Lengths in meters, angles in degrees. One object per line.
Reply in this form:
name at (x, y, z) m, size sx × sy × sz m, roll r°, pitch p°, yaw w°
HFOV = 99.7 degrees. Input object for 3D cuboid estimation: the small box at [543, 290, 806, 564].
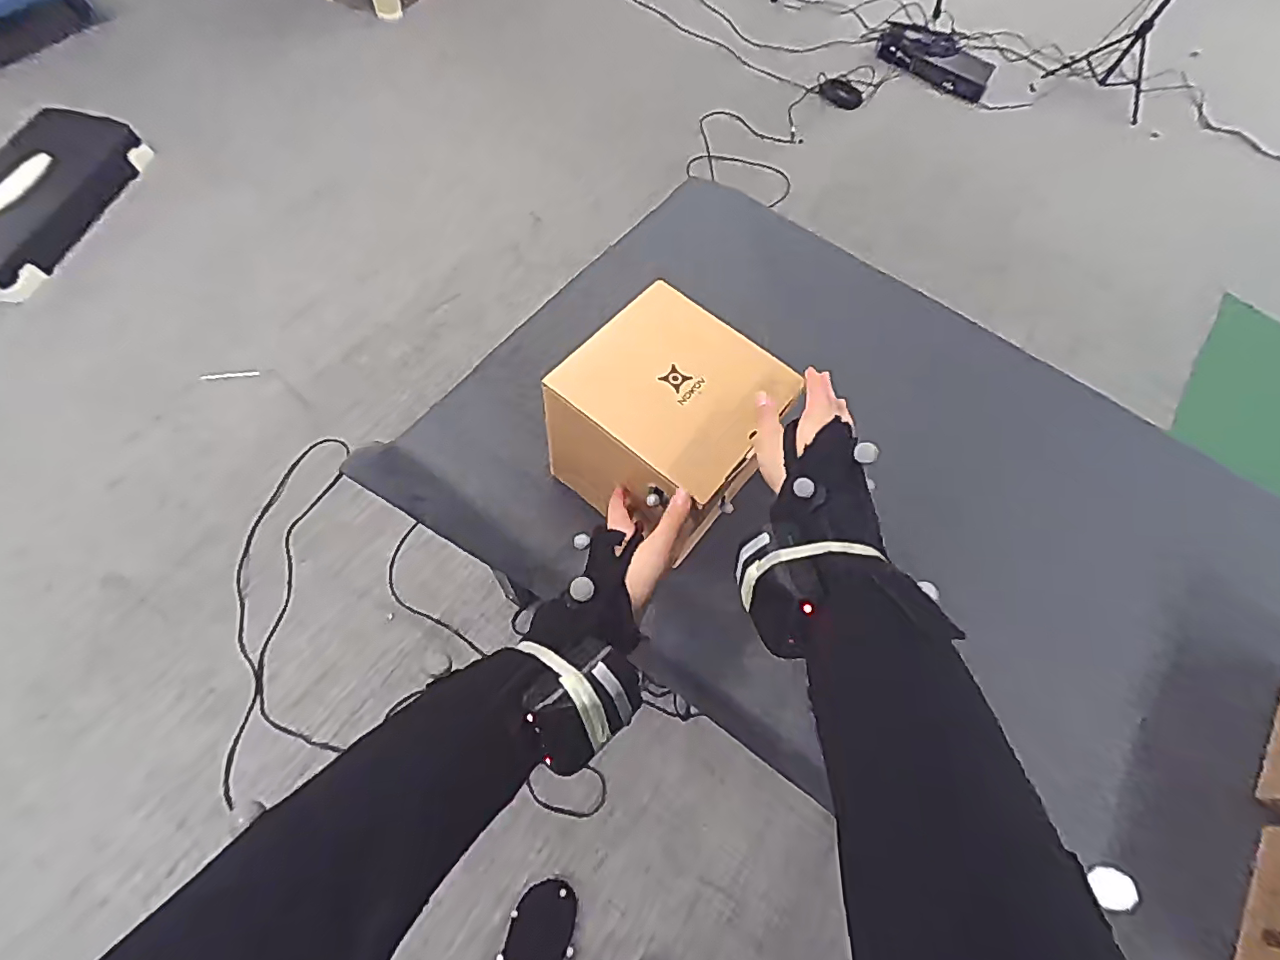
small box at (0.023, -0.044, 0.538) m, size 0.179 × 0.176 × 0.168 m, roll 38°, pitch 65°, yaw 11°
